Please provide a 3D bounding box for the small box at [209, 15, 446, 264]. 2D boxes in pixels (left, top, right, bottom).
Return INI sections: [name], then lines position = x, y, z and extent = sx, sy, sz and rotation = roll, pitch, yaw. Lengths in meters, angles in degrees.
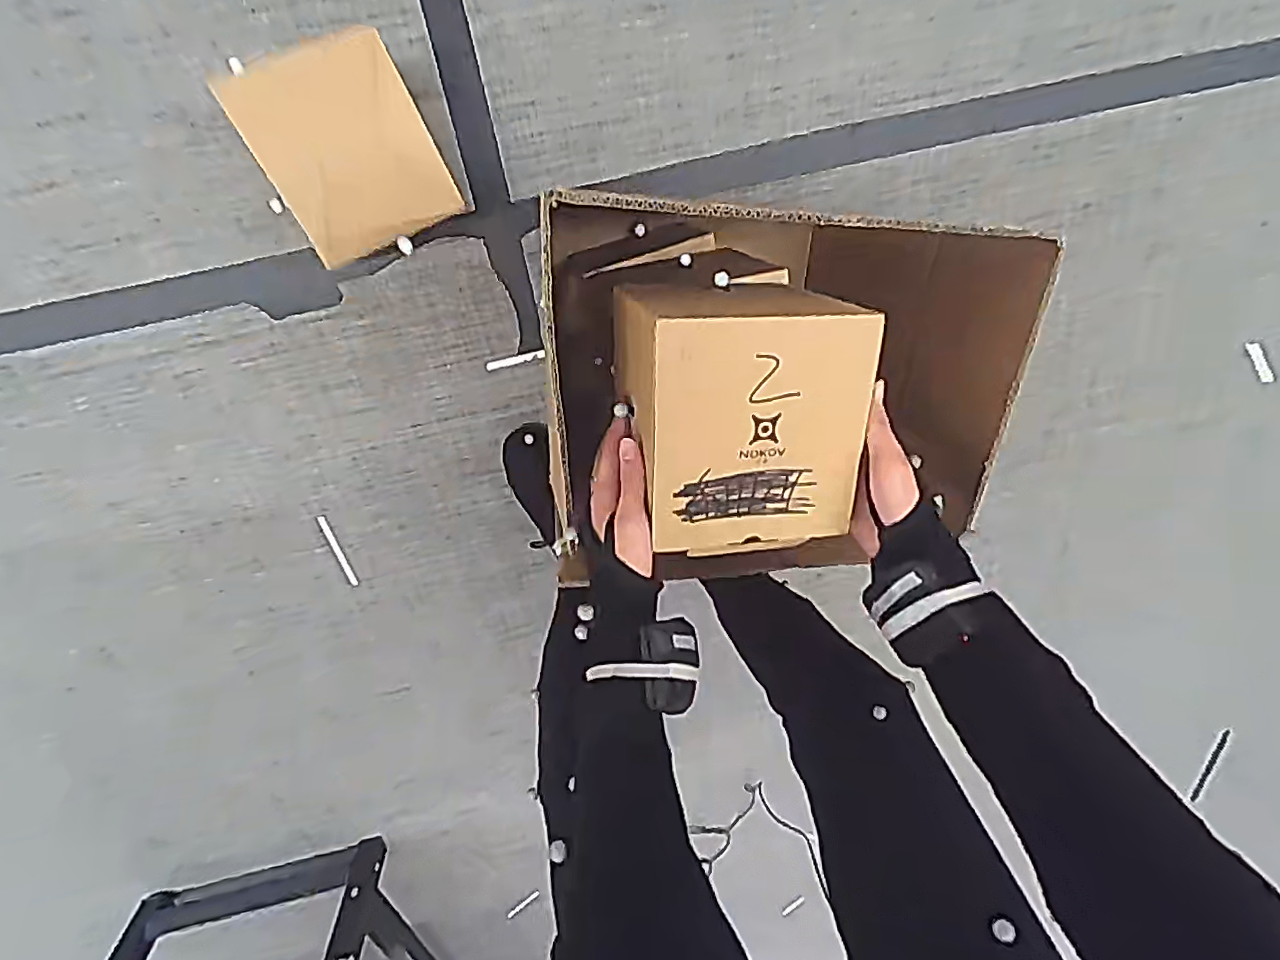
[small box]
position = -0.337, -0.368, 0.607
extent = 0.168, 0.176, 0.179
rotation = -32, 117, -14
